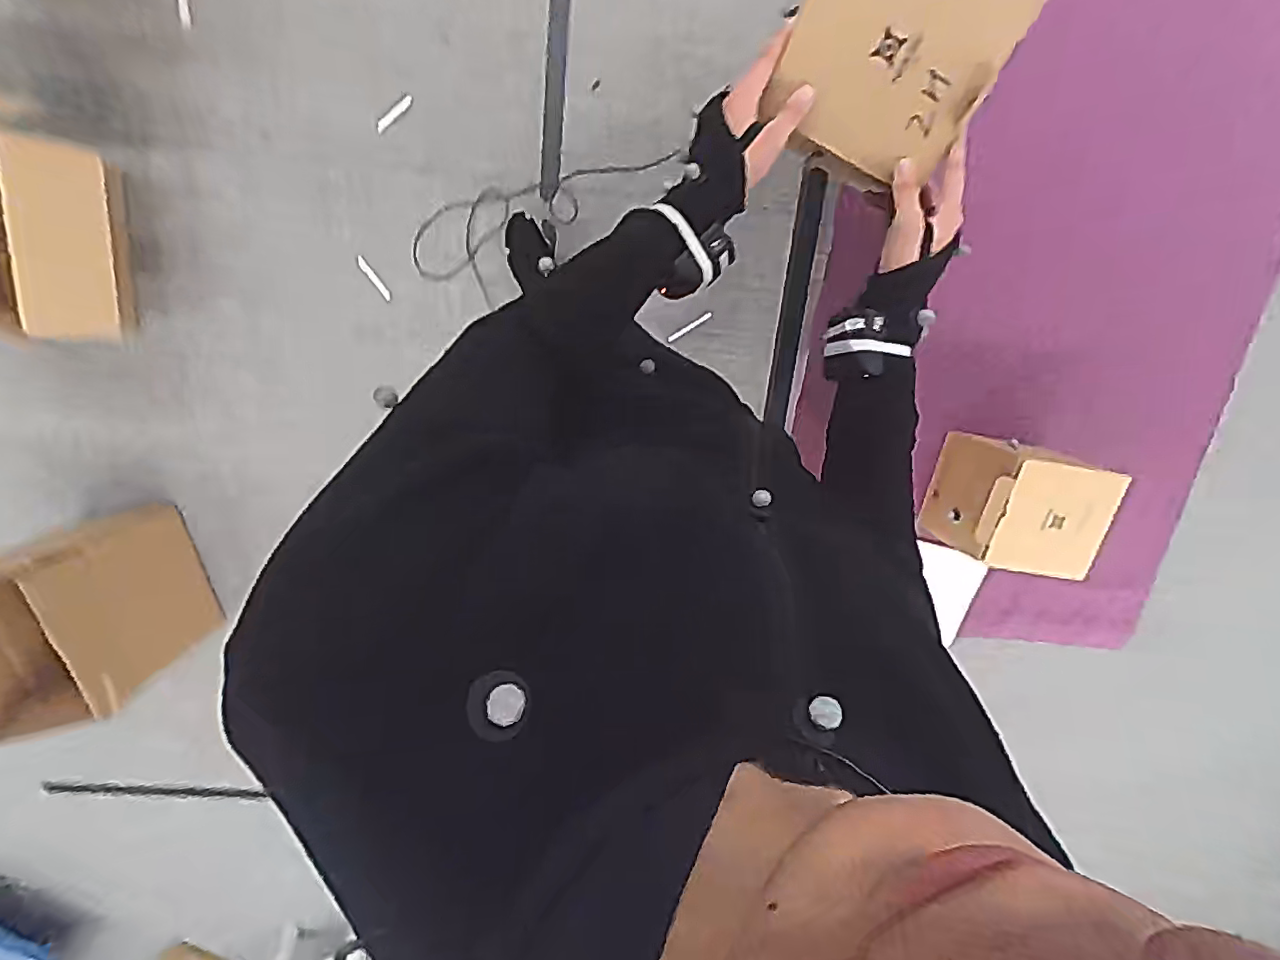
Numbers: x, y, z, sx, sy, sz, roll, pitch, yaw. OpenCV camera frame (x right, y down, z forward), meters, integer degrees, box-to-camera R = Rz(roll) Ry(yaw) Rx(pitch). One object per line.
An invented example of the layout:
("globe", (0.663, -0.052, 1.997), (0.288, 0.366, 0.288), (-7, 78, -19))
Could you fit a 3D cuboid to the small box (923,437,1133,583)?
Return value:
("small box", (0.583, 0.037, 0.841), (0.179, 0.176, 0.168), (10, 107, -7))
